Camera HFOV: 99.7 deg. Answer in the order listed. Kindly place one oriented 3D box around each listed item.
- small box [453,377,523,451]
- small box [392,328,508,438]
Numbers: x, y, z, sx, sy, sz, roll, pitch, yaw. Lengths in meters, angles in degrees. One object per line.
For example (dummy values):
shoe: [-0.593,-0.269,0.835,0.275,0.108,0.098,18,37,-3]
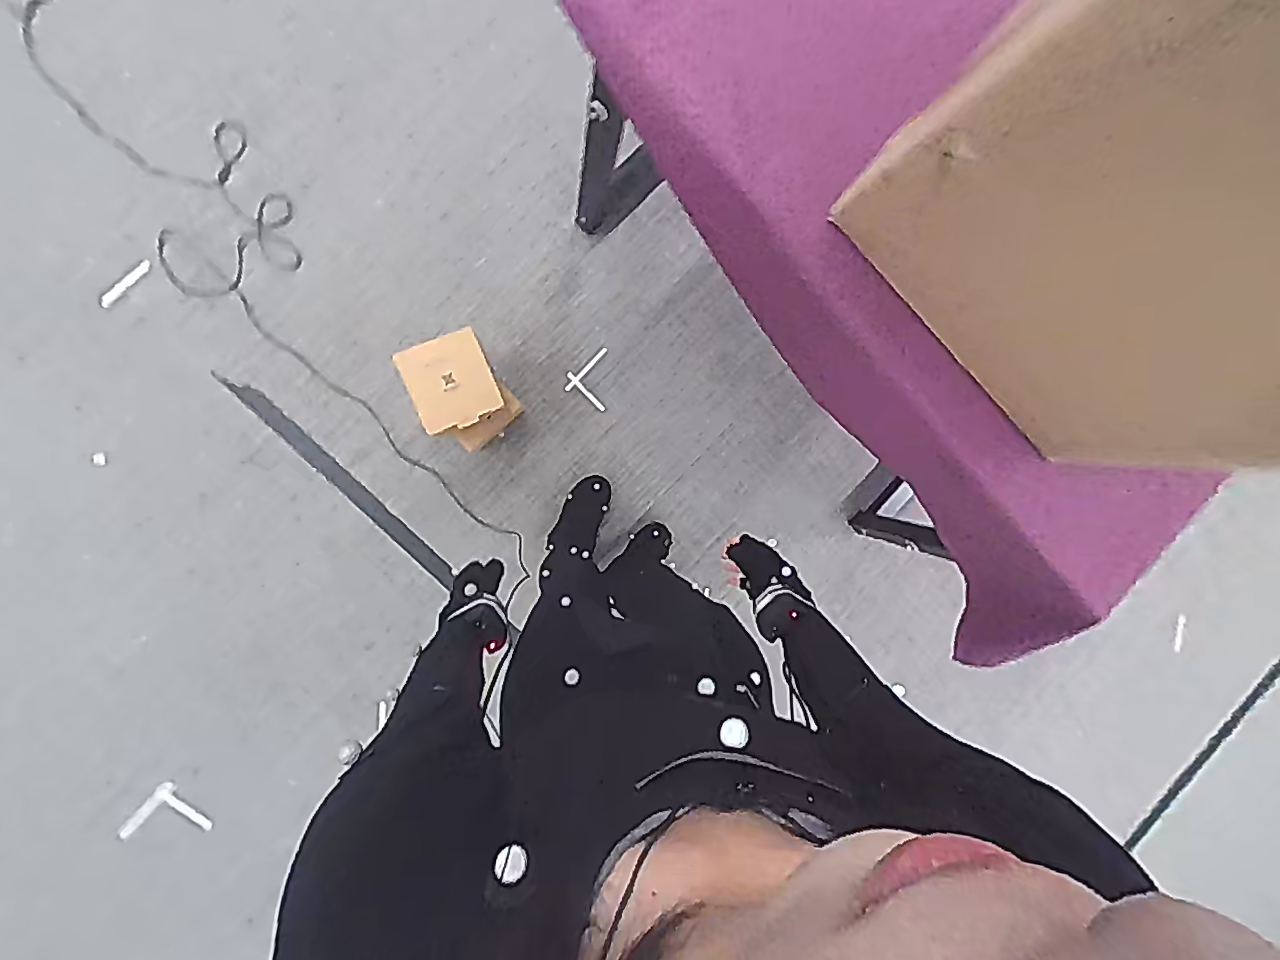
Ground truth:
small box: [-0.403,-0.185,1.314,0.168,0.176,0.179,-44,100,-4]
small box: [-0.391,-0.198,1.149,0.168,0.176,0.179,-24,97,-8]
